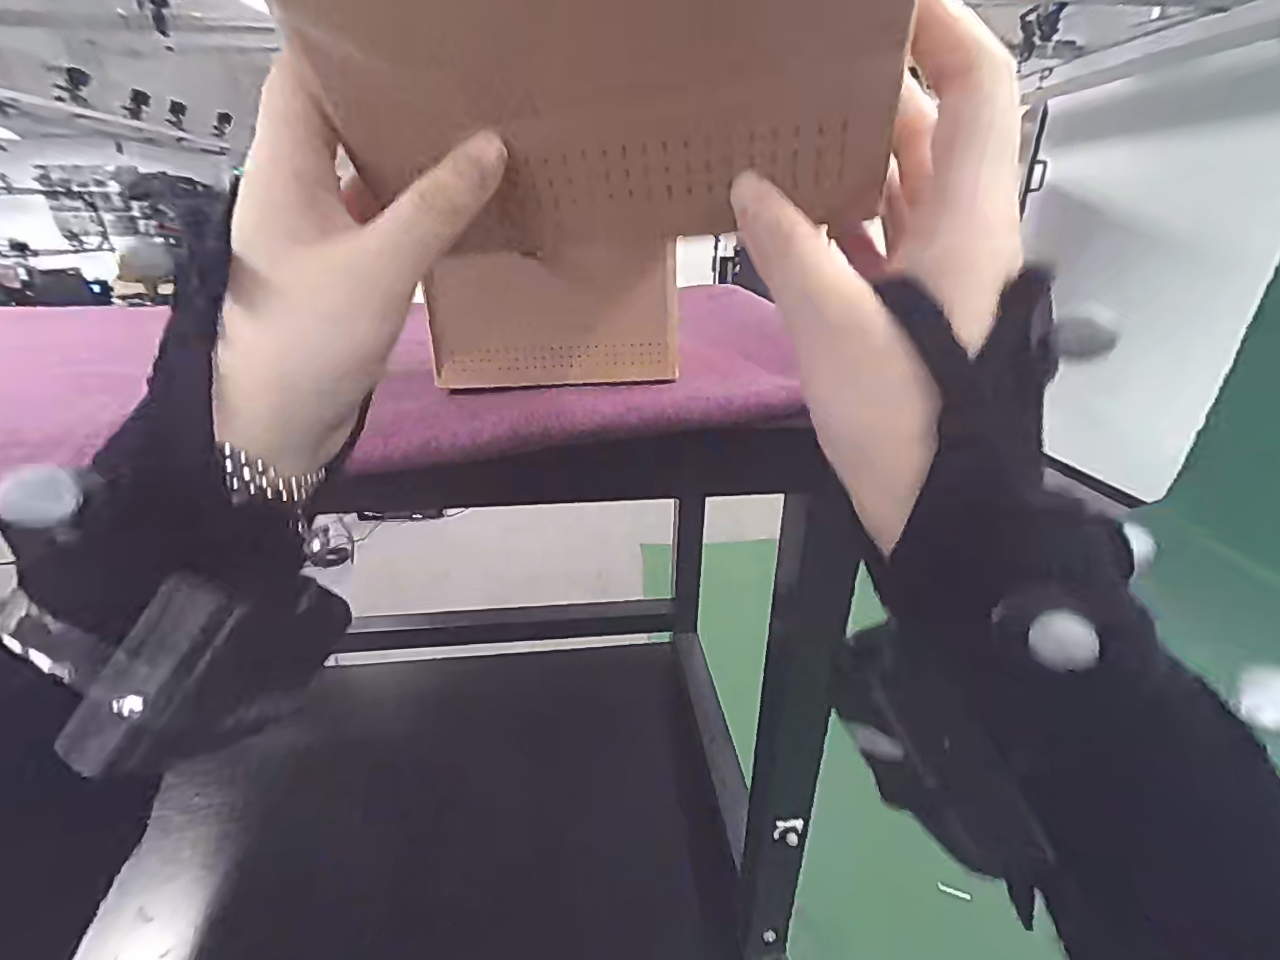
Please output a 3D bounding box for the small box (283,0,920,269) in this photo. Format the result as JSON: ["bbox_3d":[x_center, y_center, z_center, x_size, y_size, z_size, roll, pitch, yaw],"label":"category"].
[{"bbox_3d":[-0.007,-0.187,0.176,0.179,0.176,0.168,2,54,13],"label":"small box"}]

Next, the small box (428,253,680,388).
[{"bbox_3d":[-0.065,-0.174,0.435,0.179,0.176,0.168,-4,23,-4],"label":"small box"}]
